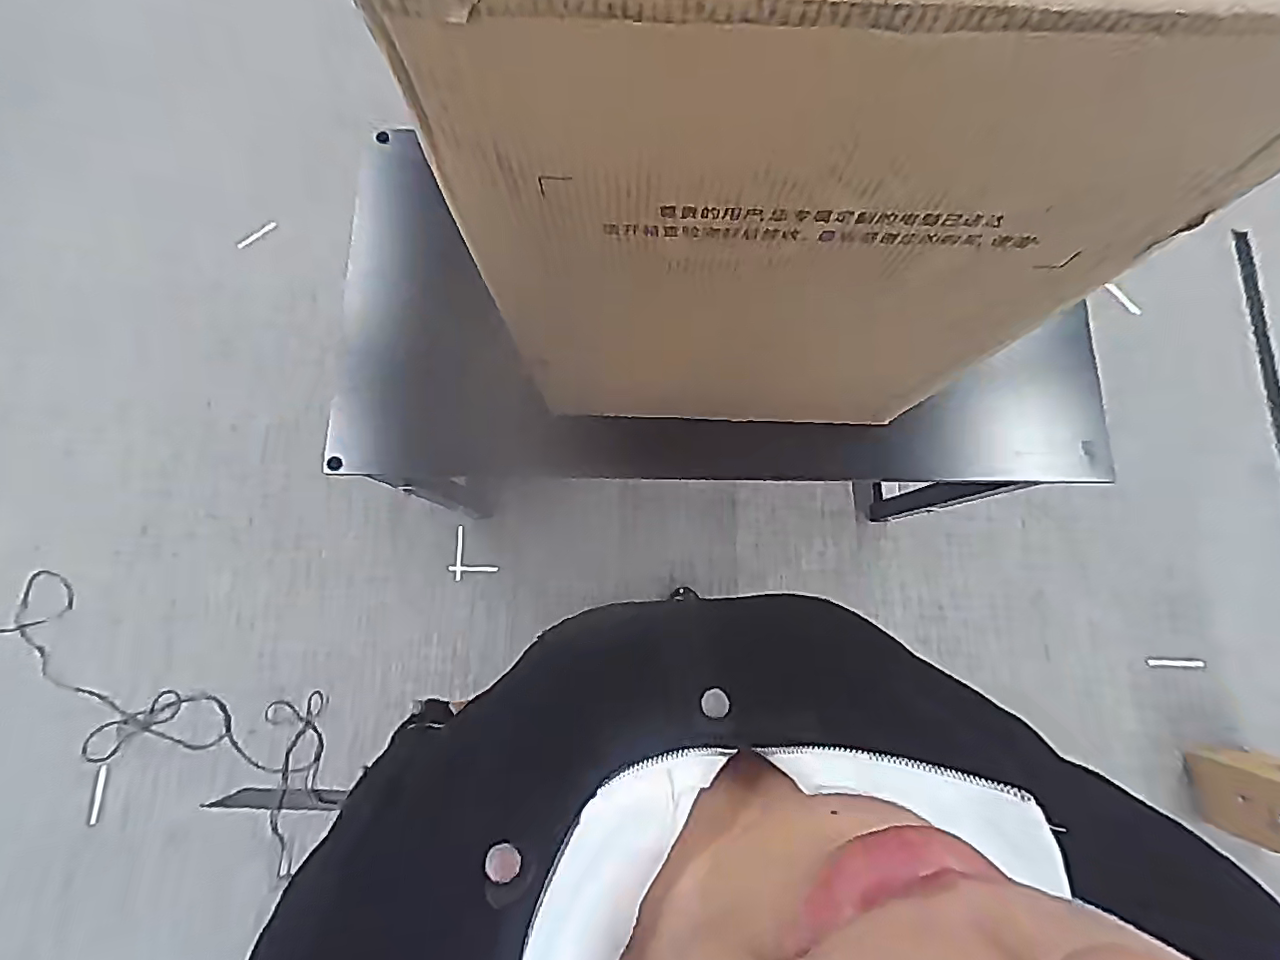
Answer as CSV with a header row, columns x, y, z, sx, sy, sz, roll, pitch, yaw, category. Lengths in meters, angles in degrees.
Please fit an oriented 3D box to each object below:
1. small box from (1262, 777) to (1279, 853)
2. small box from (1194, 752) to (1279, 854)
x,y,z,sx,sy,sz,roll,pitch,yaw,category
1.543,0.764,1.177,0.179,0.176,0.168,1,79,0,small box
1.541,0.789,1.339,0.168,0.176,0.179,-3,80,-1,small box
